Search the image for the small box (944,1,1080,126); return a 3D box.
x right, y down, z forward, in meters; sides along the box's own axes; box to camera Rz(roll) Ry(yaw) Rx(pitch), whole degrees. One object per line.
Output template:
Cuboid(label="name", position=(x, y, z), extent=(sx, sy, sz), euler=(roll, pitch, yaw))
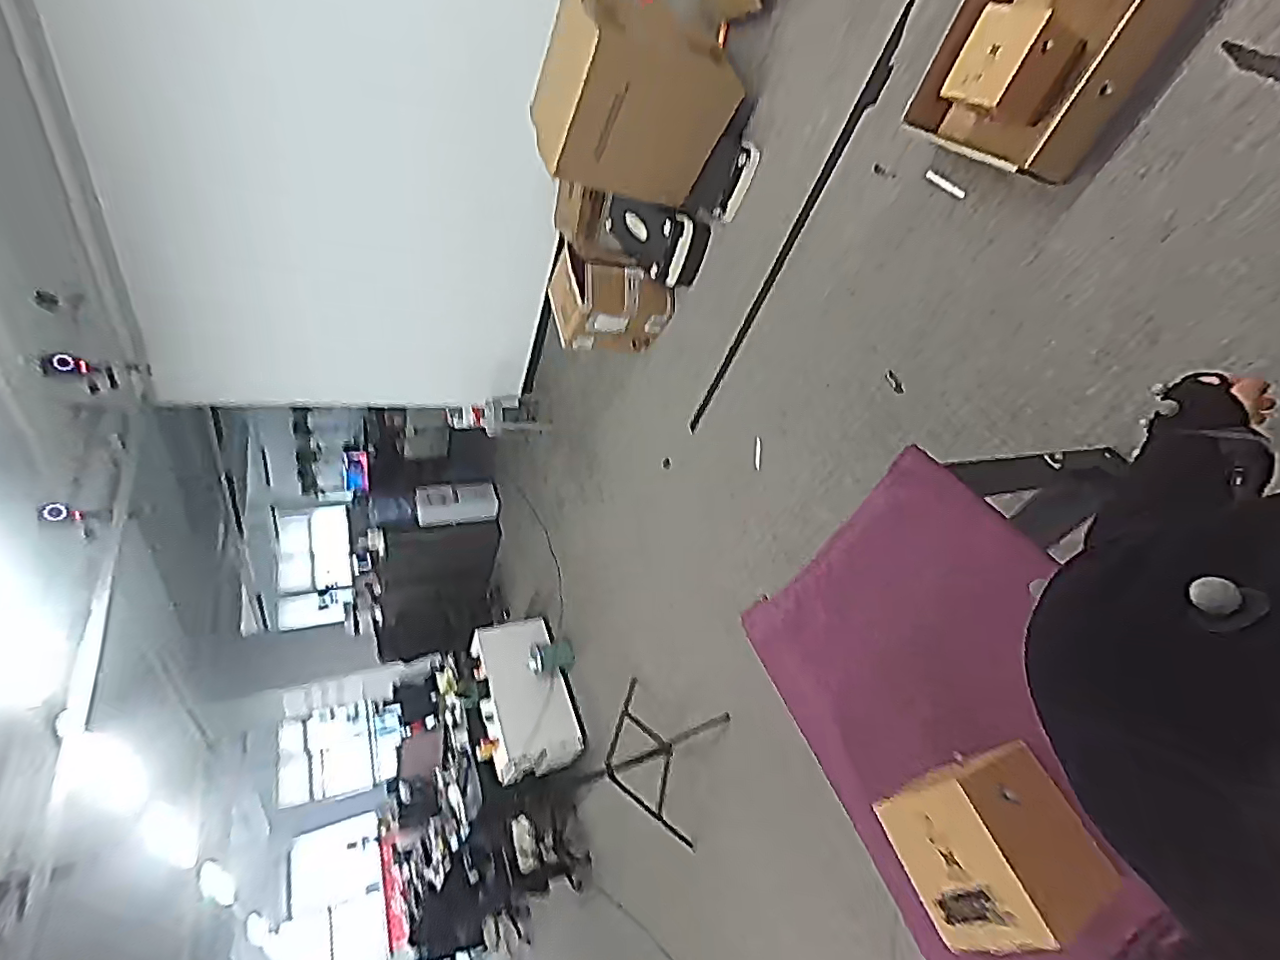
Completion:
Cuboid(label="small box", position=(0.857, -0.950, 1.241), extent=(0.168, 0.176, 0.179), euler=(59, 139, 40))
